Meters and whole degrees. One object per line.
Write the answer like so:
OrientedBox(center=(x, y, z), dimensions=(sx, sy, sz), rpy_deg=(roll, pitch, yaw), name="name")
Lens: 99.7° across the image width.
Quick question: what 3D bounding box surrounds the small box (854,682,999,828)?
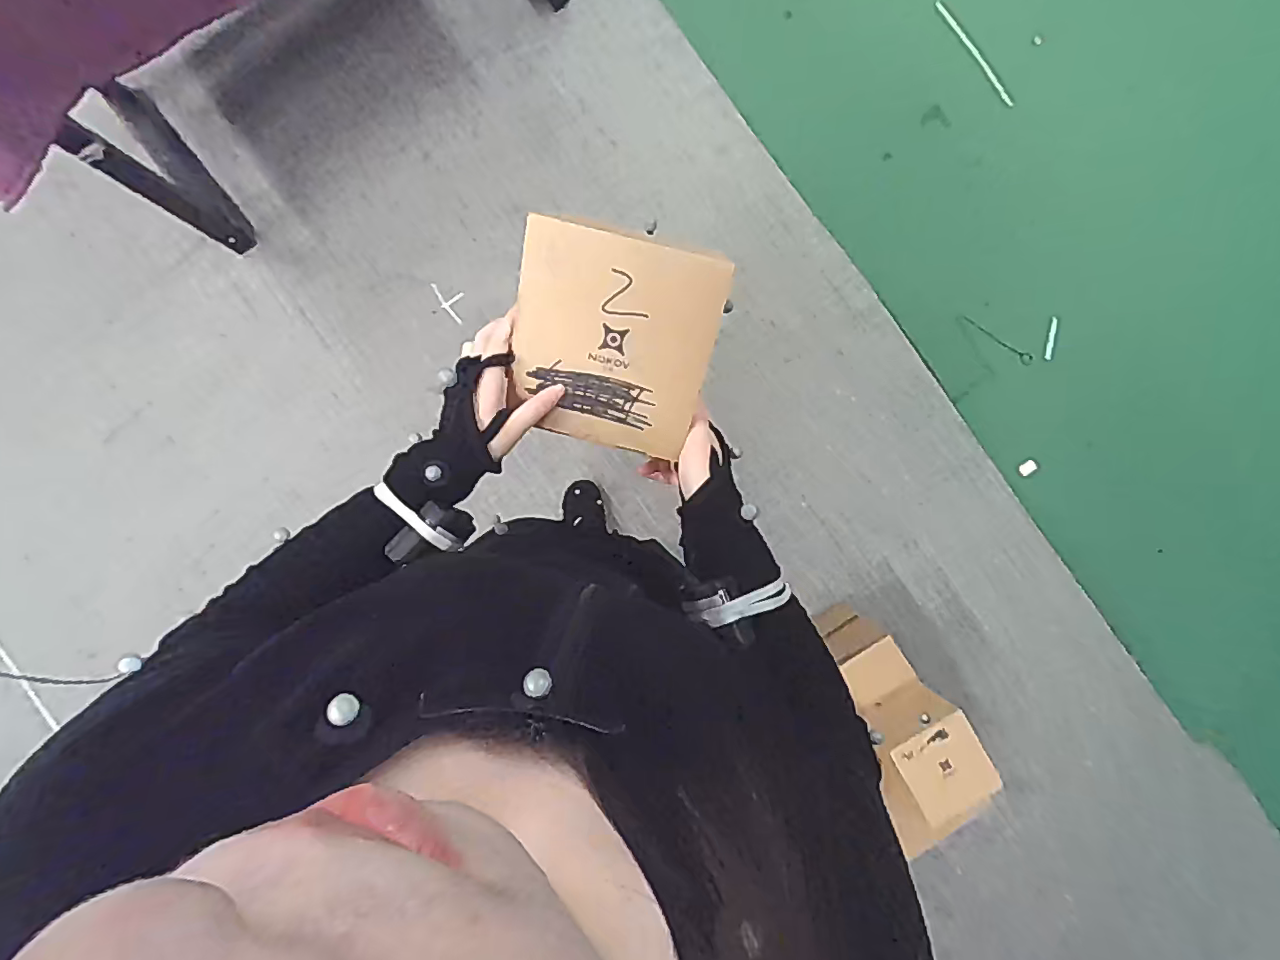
OrientedBox(center=(0.580, 0.554, 1.115), dimensions=(0.168, 0.176, 0.179), rpy_deg=(-29, 92, -2), name="small box")
